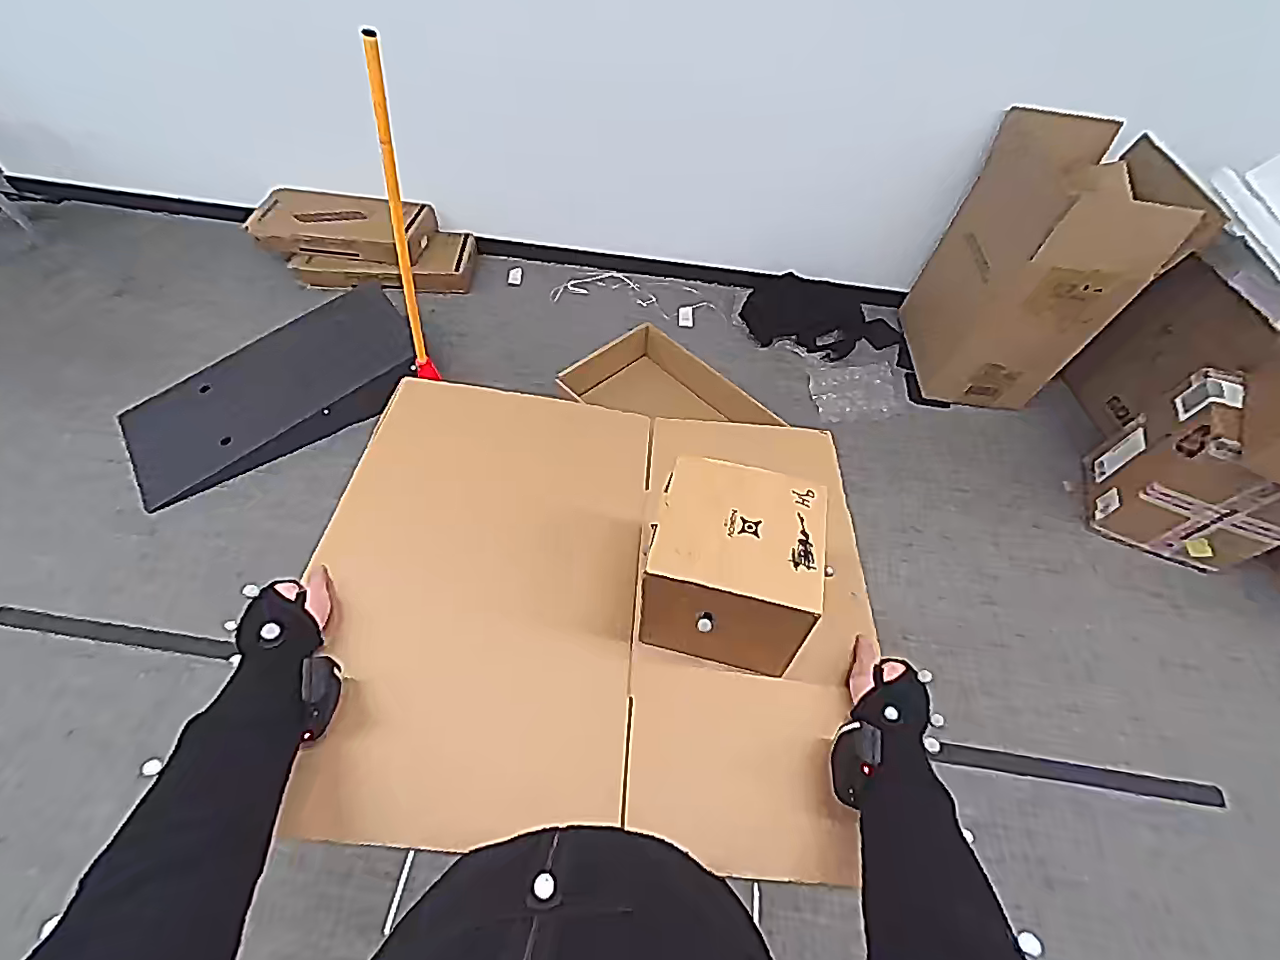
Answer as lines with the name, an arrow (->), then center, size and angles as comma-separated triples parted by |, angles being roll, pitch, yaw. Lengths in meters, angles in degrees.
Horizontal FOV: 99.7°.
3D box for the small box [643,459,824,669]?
small box -> 0.105, 0.102, 0.637 | 0.179, 0.176, 0.168 | 11, 51, 9
